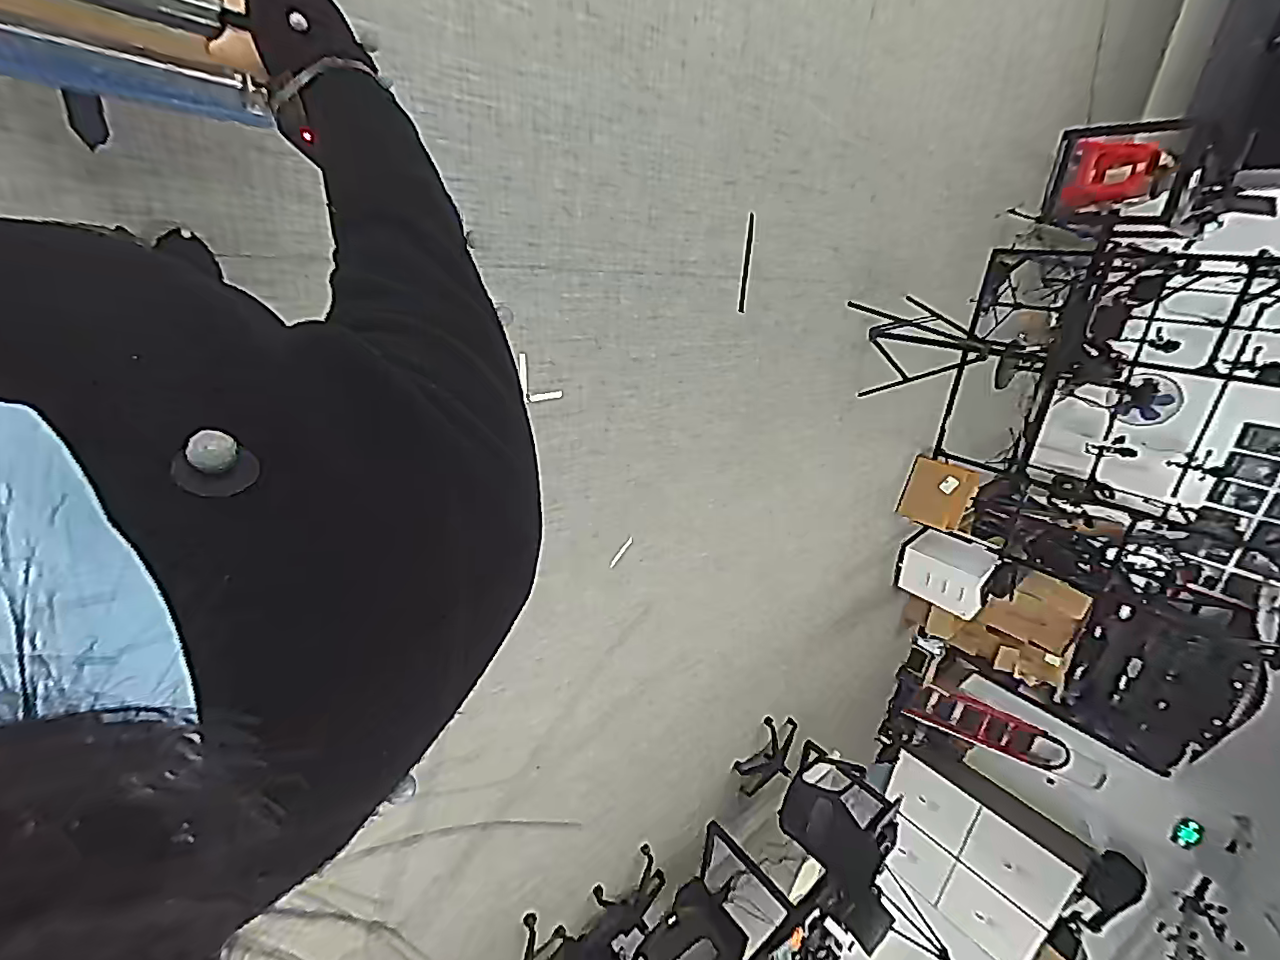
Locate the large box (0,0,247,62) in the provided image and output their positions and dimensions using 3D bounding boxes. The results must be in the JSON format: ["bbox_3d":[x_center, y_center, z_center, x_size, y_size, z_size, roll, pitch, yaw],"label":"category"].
[{"bbox_3d":[-0.761,-0.769,0.646,0.408,0.320,0.320,-13,119,-41],"label":"large box"}]
